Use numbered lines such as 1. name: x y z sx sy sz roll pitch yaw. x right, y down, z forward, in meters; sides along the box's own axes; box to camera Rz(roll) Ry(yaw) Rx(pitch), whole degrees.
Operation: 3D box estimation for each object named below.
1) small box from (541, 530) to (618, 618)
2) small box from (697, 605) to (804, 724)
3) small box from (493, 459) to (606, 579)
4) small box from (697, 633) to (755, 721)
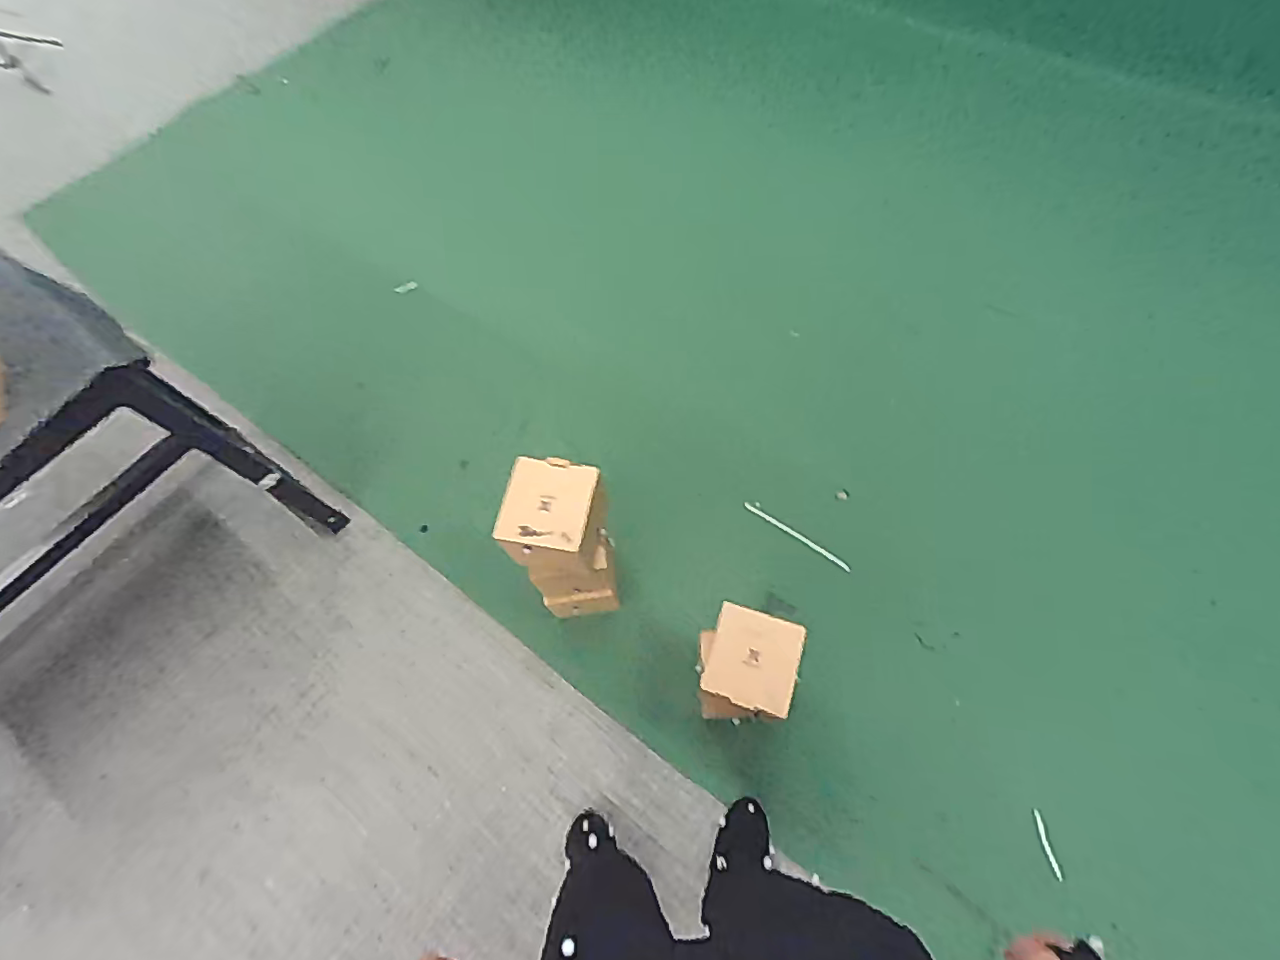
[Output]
1. small box: -0.151 0.244 1.370 0.168 0.176 0.179 -9 63 0
2. small box: 0.217 0.378 1.093 0.168 0.176 0.179 16 66 11
3. small box: -0.169 0.082 1.083 0.168 0.176 0.179 9 65 9
4. small box: 0.220 0.454 1.237 0.168 0.176 0.179 -3 65 3
